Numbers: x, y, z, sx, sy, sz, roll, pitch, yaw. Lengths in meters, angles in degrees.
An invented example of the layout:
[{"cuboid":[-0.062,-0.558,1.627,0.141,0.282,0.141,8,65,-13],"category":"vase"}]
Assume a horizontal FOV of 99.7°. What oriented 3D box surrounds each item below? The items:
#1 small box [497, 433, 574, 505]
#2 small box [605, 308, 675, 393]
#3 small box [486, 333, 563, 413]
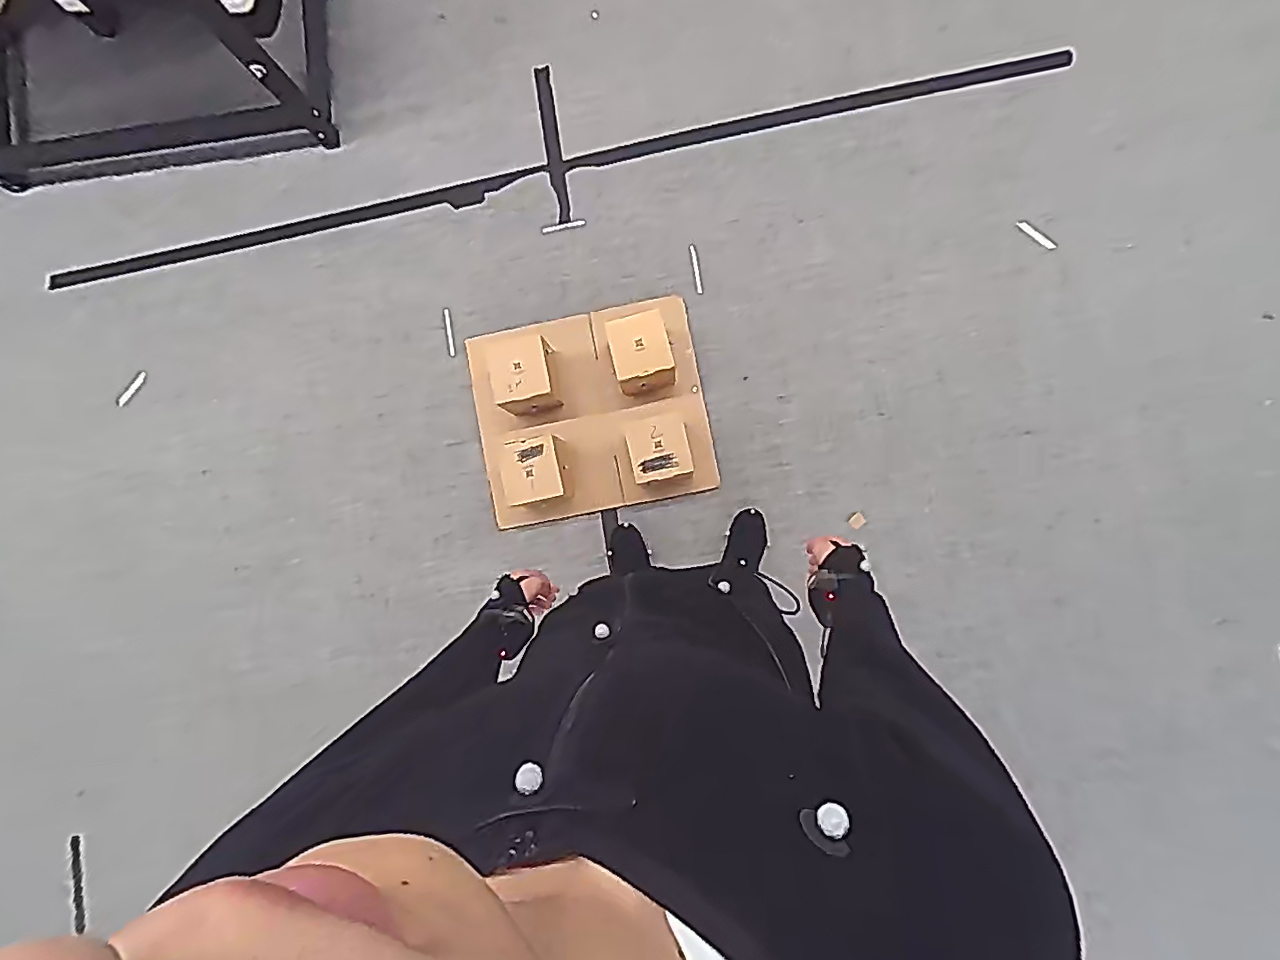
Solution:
[{"cuboid":[-0.299,-0.026,1.575,0.168,0.176,0.179,-12,87,4],"category":"small box"},{"cuboid":[0.003,-0.371,1.577,0.168,0.176,0.179,-15,86,3],"category":"small box"},{"cuboid":[-0.335,-0.308,1.591,0.168,0.176,0.179,-12,87,4],"category":"small box"}]
